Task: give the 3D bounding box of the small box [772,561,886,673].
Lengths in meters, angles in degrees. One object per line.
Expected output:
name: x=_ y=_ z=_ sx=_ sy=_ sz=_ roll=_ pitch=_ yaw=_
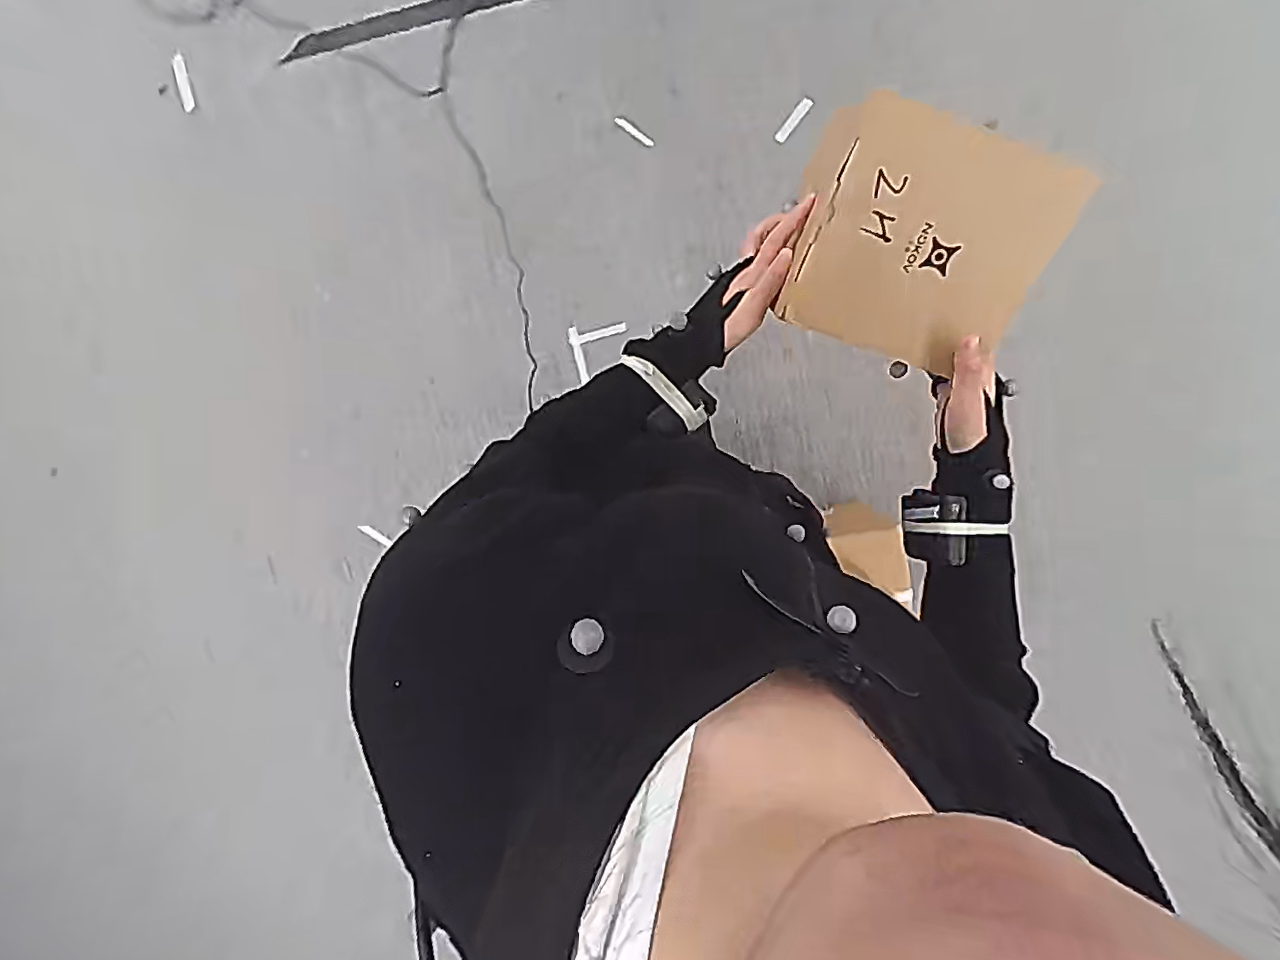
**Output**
small box: x=0.387 y=0.278 z=1.131 sx=0.179 sy=0.176 sz=0.168 roll=-11 pitch=96 yaw=7
